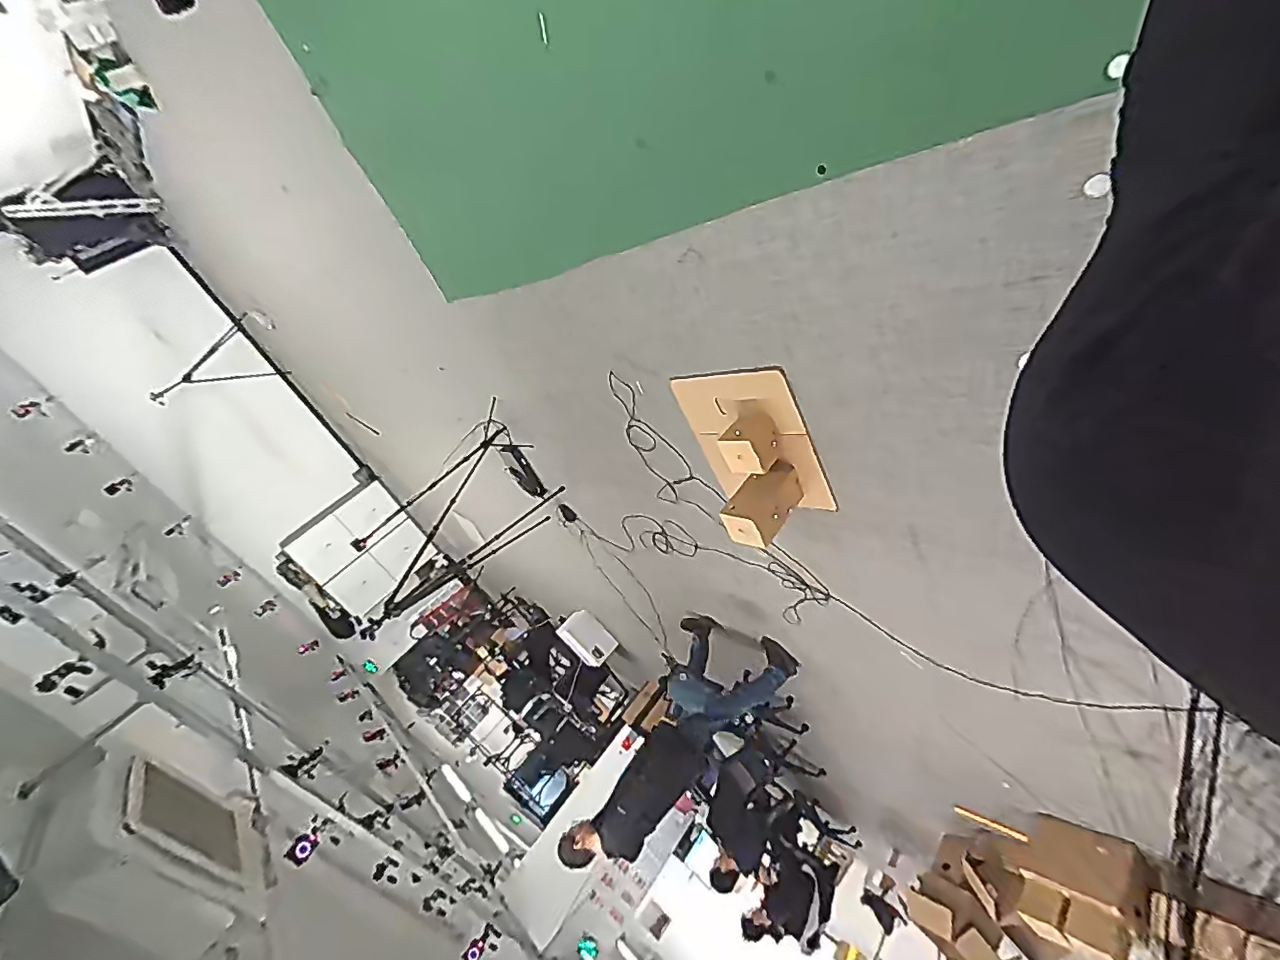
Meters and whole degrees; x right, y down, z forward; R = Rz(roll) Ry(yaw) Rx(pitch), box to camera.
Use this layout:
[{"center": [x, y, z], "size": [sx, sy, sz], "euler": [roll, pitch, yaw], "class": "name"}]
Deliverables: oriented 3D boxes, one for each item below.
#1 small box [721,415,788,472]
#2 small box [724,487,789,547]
[{"center": [0.466, -0.150, 2.196], "size": [0.179, 0.176, 0.168], "euler": [3, 132, 51], "class": "small box"}, {"center": [0.482, 0.146, 2.225], "size": [0.179, 0.176, 0.168], "euler": [9, 138, 48], "class": "small box"}]
